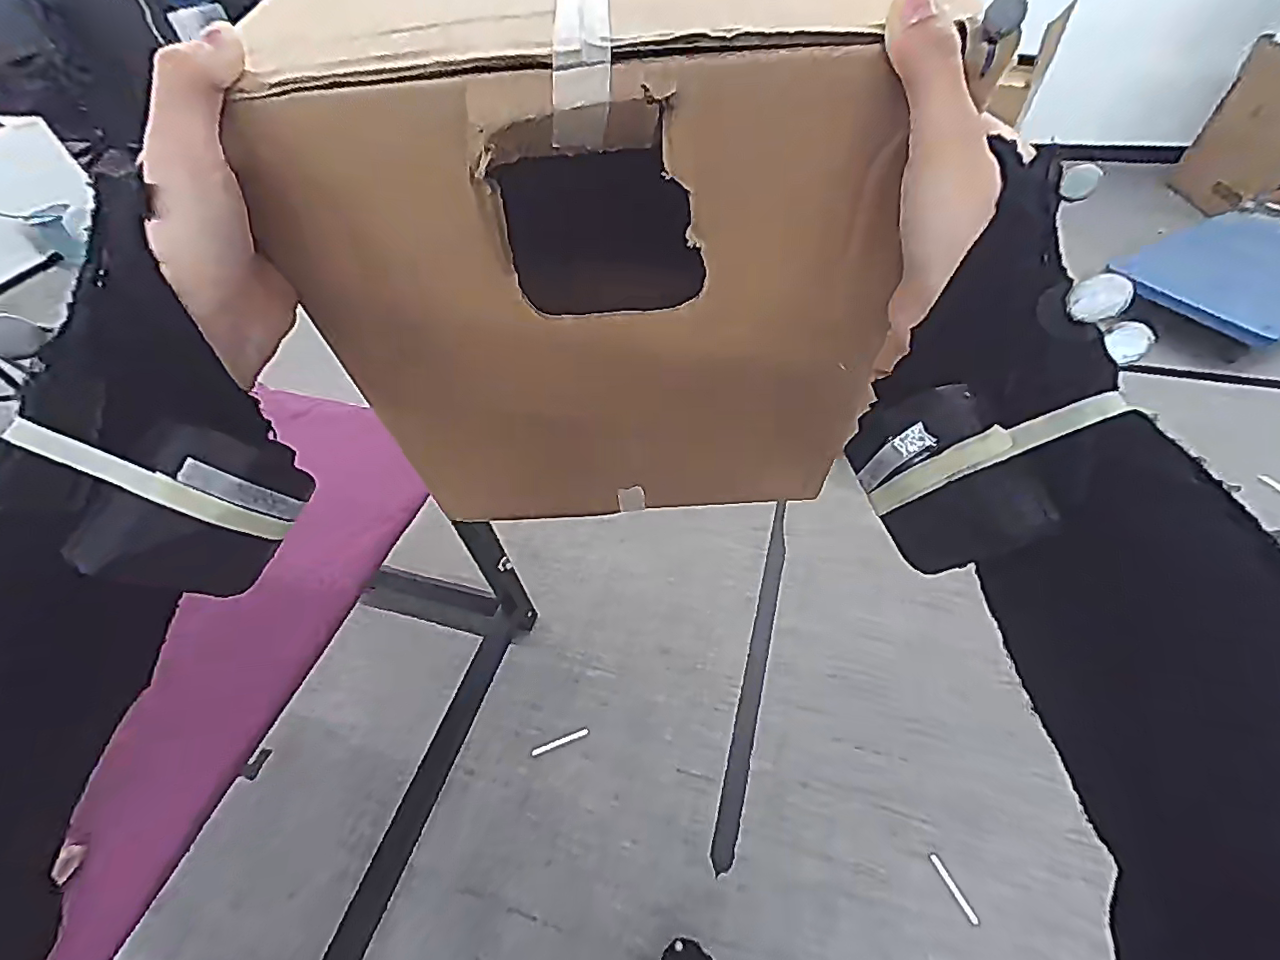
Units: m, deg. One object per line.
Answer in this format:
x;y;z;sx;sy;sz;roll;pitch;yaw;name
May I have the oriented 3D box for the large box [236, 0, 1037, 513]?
-0.009;-0.227;0.434;0.320;0.320;0.408;-5;56;1;large box
